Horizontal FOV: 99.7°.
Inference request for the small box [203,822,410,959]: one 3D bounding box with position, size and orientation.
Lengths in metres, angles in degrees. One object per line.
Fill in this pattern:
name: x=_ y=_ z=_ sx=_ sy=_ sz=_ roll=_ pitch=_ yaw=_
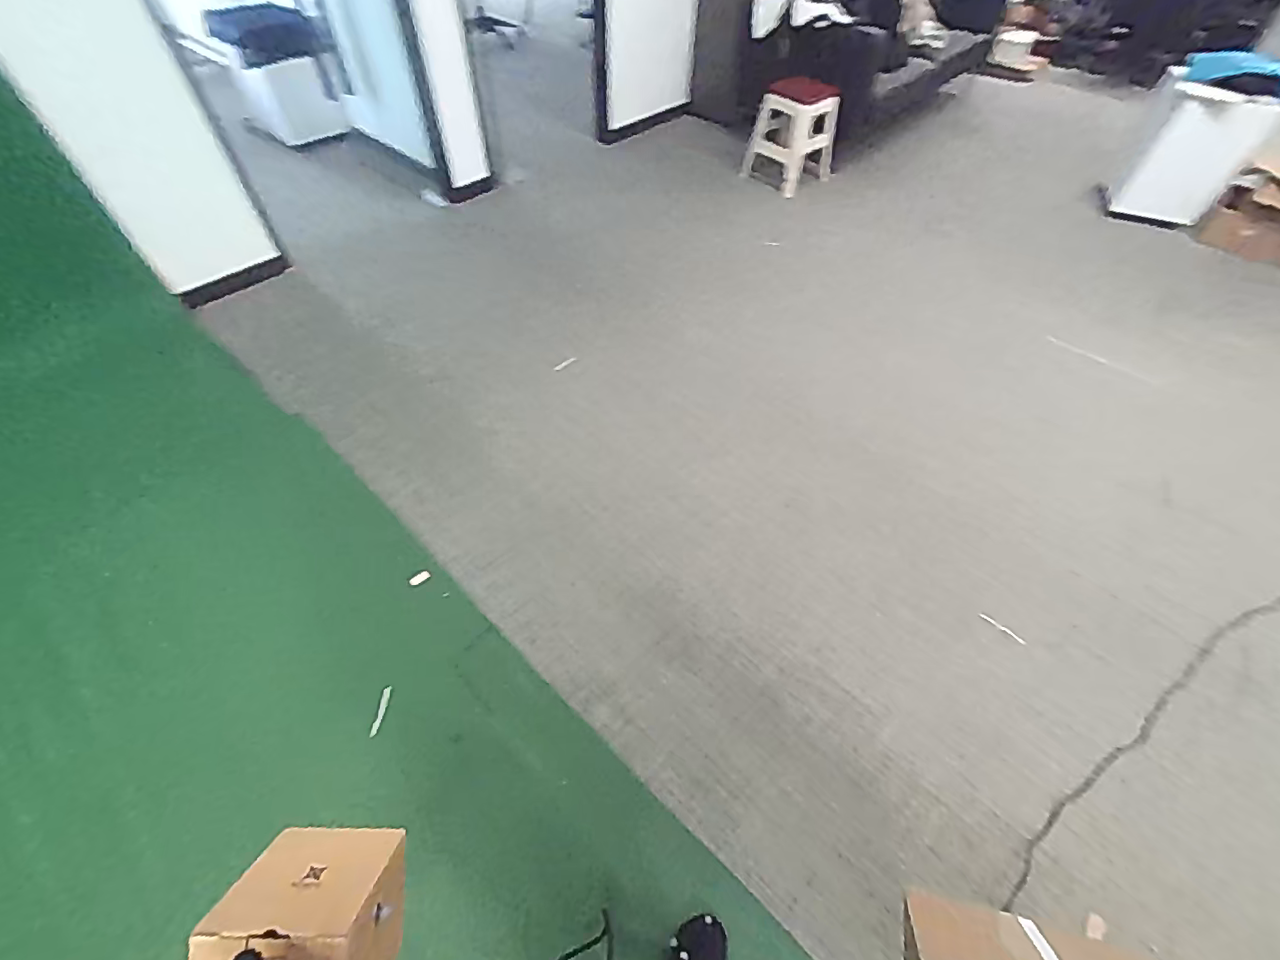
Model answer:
small box: x=-0.406 y=0.567 z=0.677 sx=0.168 sy=0.179 sz=0.176 roll=2 pitch=93 yaw=-3
